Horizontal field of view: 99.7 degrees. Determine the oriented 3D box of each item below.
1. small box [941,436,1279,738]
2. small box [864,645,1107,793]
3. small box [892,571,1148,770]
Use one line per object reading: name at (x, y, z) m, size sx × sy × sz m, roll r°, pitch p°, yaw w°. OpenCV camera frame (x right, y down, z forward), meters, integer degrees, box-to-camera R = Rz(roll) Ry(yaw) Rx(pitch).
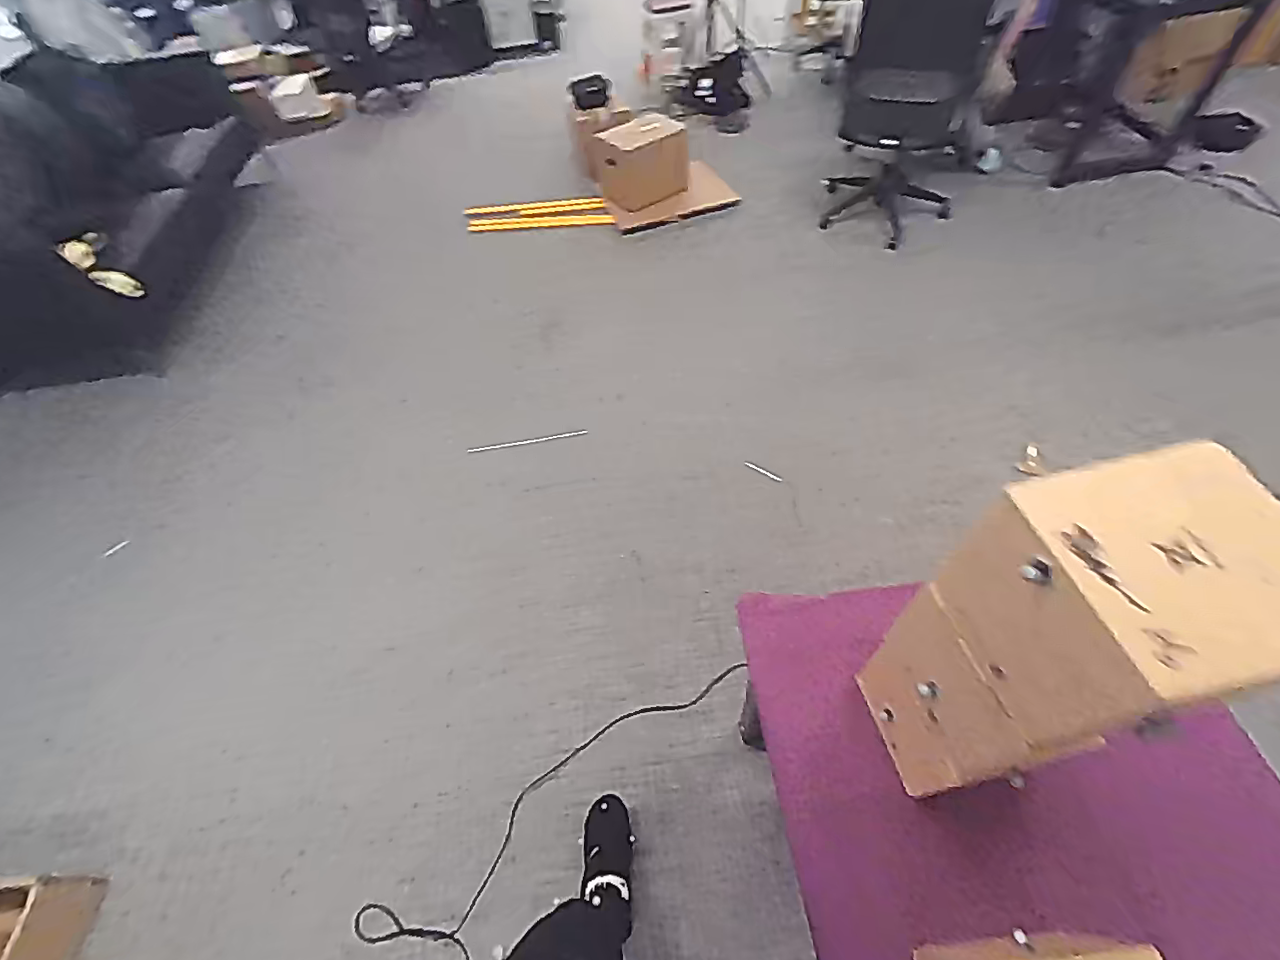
small box at (0.389, 0.092, 0.437) m, size 0.179 × 0.176 × 0.168 m, roll -12°, pitch 54°, yaw -2°
small box at (0.422, 0.289, 0.699) m, size 0.179 × 0.176 × 0.168 m, roll -14°, pitch 54°, yaw -2°
small box at (0.403, 0.188, 0.570) m, size 0.179 × 0.176 × 0.168 m, roll -14°, pitch 54°, yaw -3°
